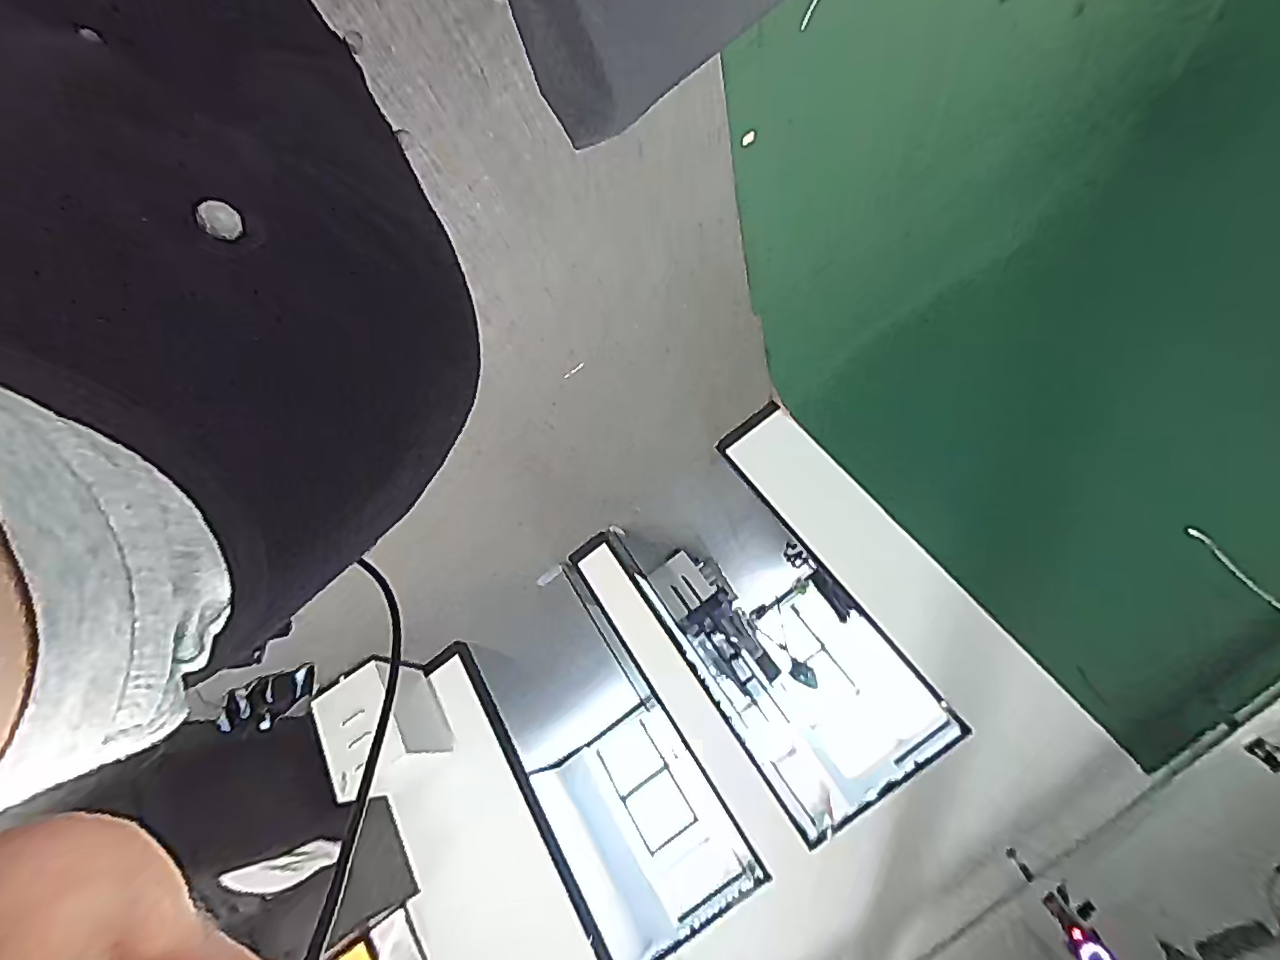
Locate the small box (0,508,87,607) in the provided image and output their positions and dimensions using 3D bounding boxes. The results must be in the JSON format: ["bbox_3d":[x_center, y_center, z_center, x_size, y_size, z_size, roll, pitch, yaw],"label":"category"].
[{"bbox_3d":[-1.595,0.198,1.393,0.179,0.176,0.168,-38,152,2],"label":"small box"}]
